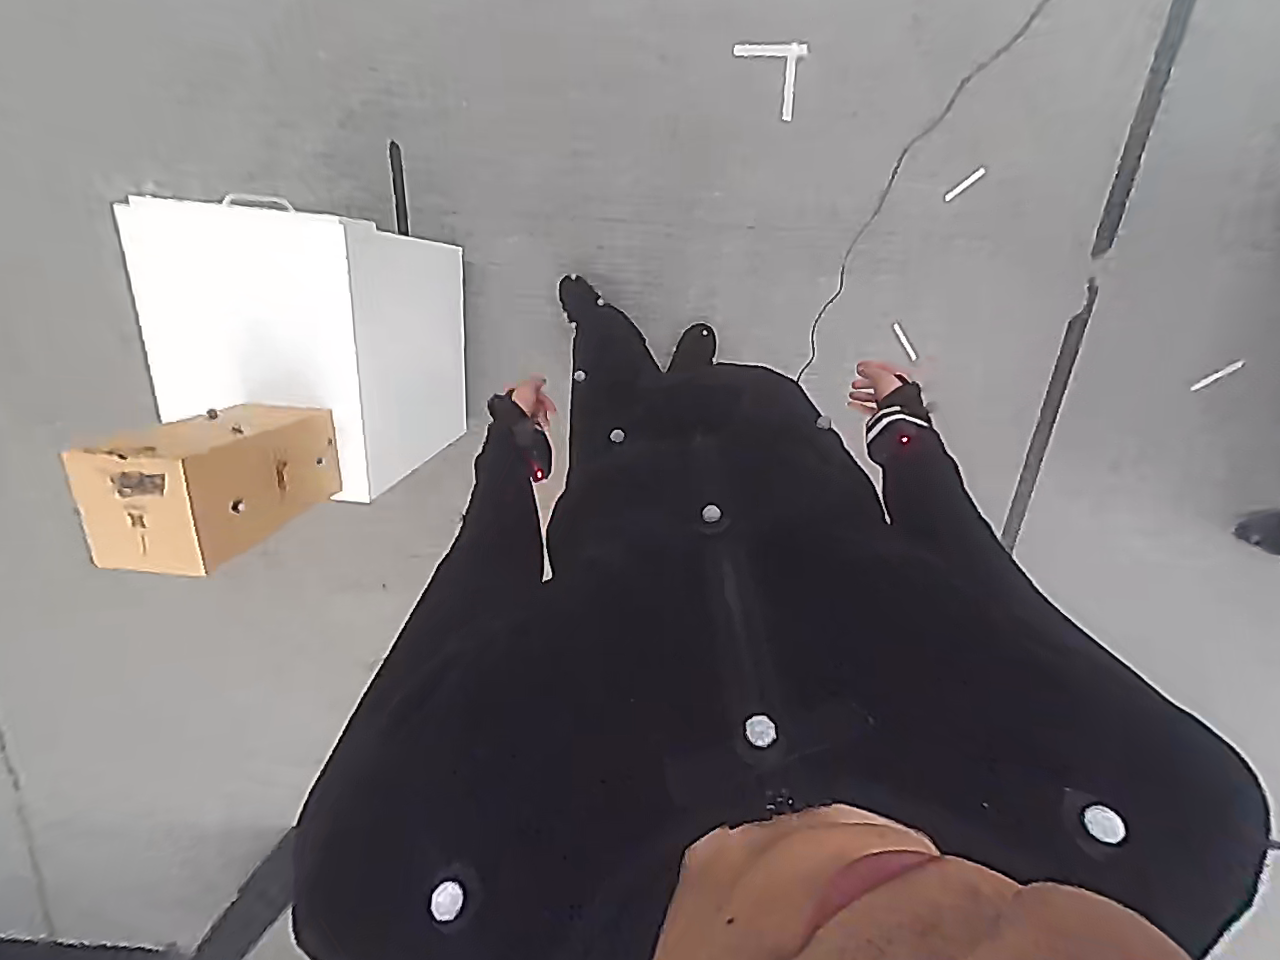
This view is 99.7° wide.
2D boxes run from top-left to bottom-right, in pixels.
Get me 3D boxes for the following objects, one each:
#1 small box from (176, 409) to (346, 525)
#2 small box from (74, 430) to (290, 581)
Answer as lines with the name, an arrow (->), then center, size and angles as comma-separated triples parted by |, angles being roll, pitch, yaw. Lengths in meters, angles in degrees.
small box -> -0.667, -0.028, 0.973 | 0.179, 0.176, 0.168 | 4, 110, 2
small box -> -0.672, 0.029, 0.818 | 0.168, 0.176, 0.179 | 5, 110, 3
